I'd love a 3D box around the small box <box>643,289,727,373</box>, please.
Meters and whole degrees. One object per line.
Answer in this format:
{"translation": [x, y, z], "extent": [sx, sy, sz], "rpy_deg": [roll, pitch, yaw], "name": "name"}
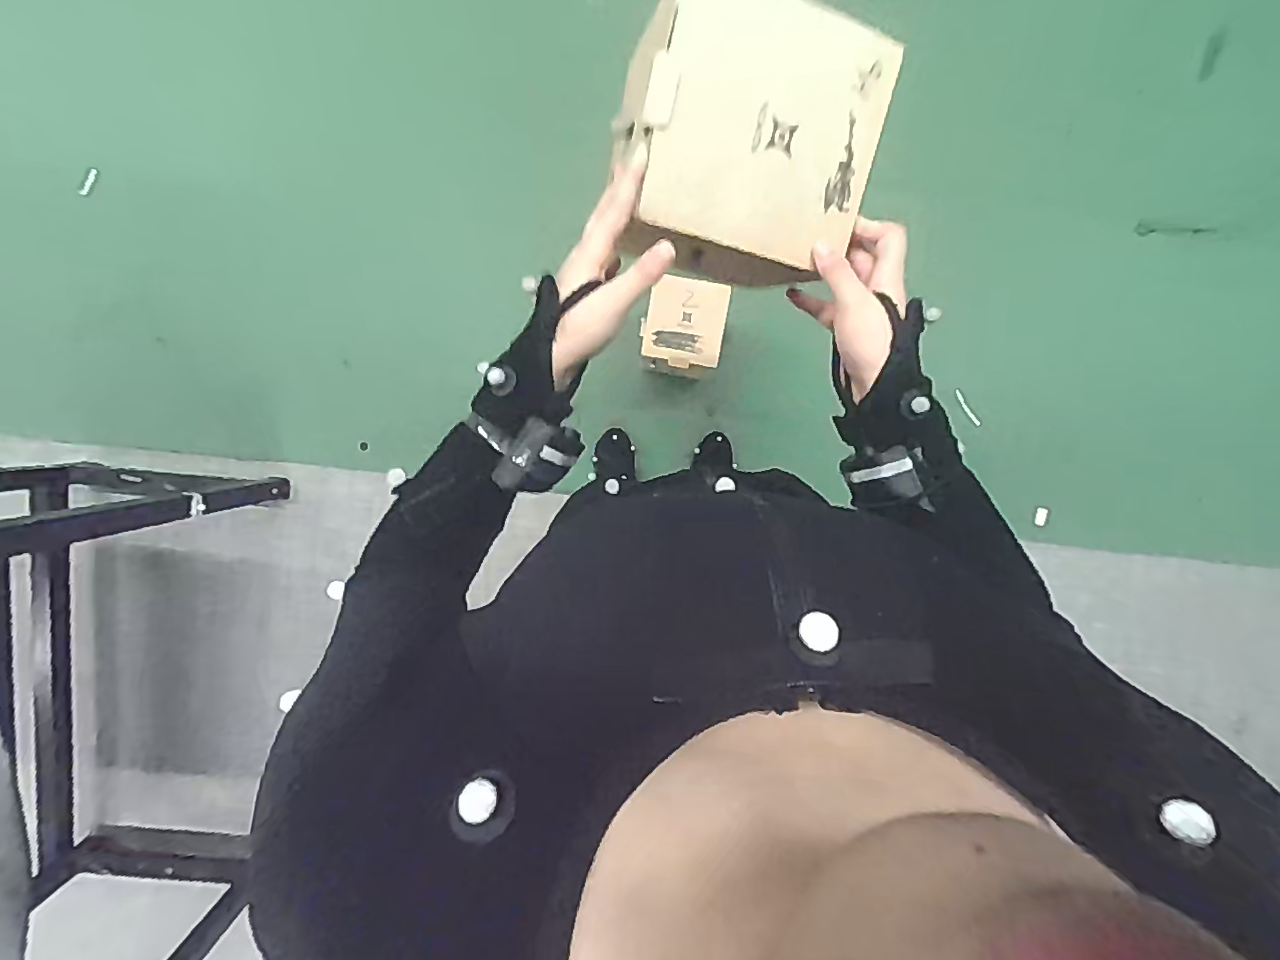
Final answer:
{"translation": [0.106, -0.365, 1.359], "extent": [0.179, 0.176, 0.168], "rpy_deg": [10, 97, -1], "name": "small box"}
